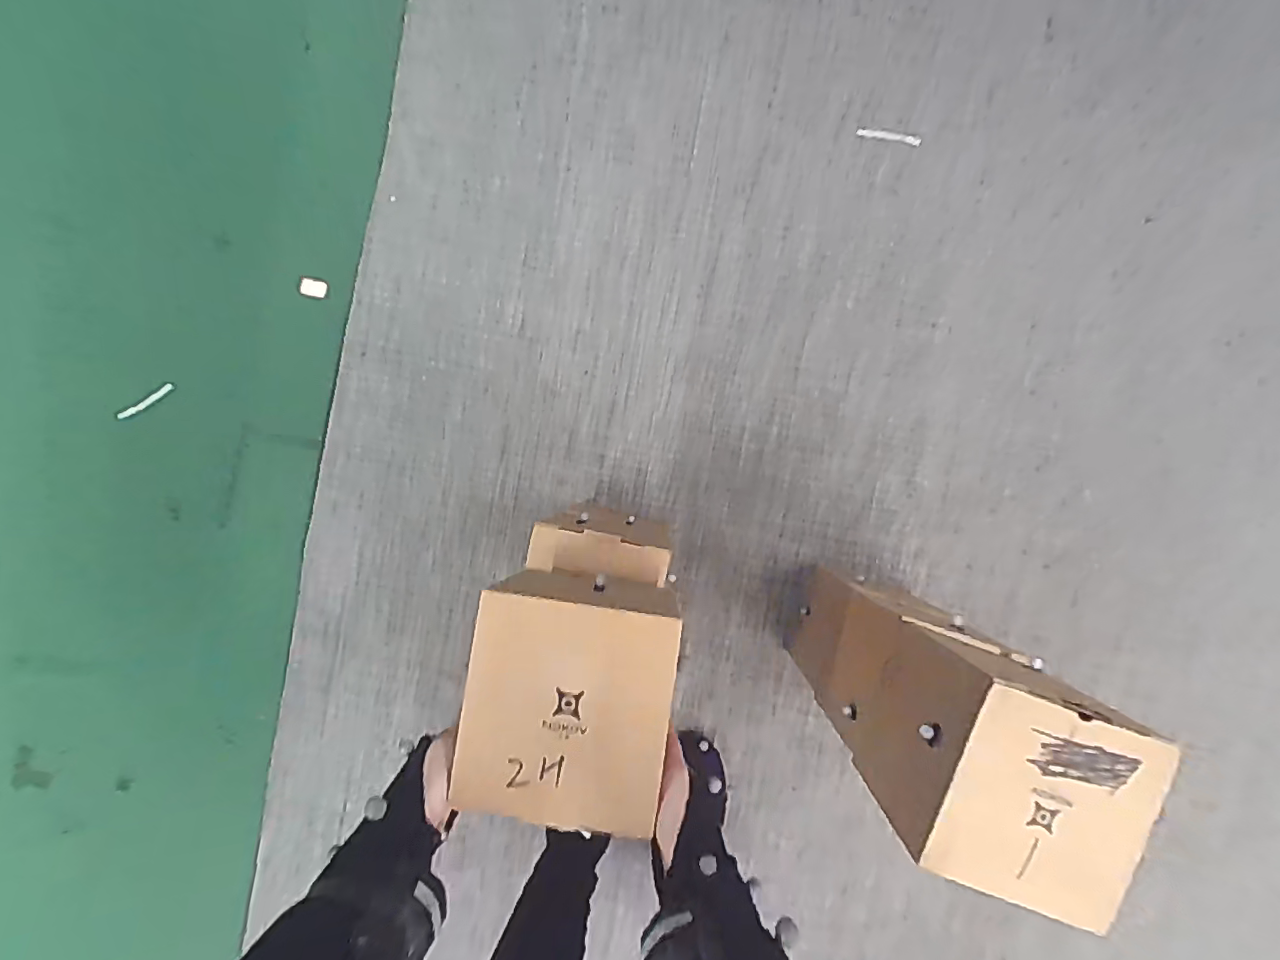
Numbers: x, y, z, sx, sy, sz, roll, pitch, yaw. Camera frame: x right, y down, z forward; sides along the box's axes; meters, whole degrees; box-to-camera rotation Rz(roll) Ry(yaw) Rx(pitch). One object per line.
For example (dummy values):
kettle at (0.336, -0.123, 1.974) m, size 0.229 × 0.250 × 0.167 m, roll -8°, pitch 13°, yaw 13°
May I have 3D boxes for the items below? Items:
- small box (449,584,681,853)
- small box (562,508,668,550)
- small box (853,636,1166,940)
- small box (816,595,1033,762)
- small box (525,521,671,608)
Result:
small box at (-0.059, 0.202, 0.512) m, size 0.168 × 0.176 × 0.179 m, roll 8°, pitch 87°, yaw 2°
small box at (-0.052, 0.152, 0.878) m, size 0.168 × 0.176 × 0.179 m, roll 15°, pitch 92°, yaw 2°
small box at (0.337, 0.279, 0.535) m, size 0.168 × 0.176 × 0.179 m, roll 20°, pitch 94°, yaw 2°
small box at (0.347, 0.267, 0.699) m, size 0.168 × 0.176 × 0.179 m, roll 18°, pitch 93°, yaw 2°
small box at (-0.057, 0.157, 0.715) m, size 0.168 × 0.176 × 0.179 m, roll 11°, pitch 92°, yaw 4°
